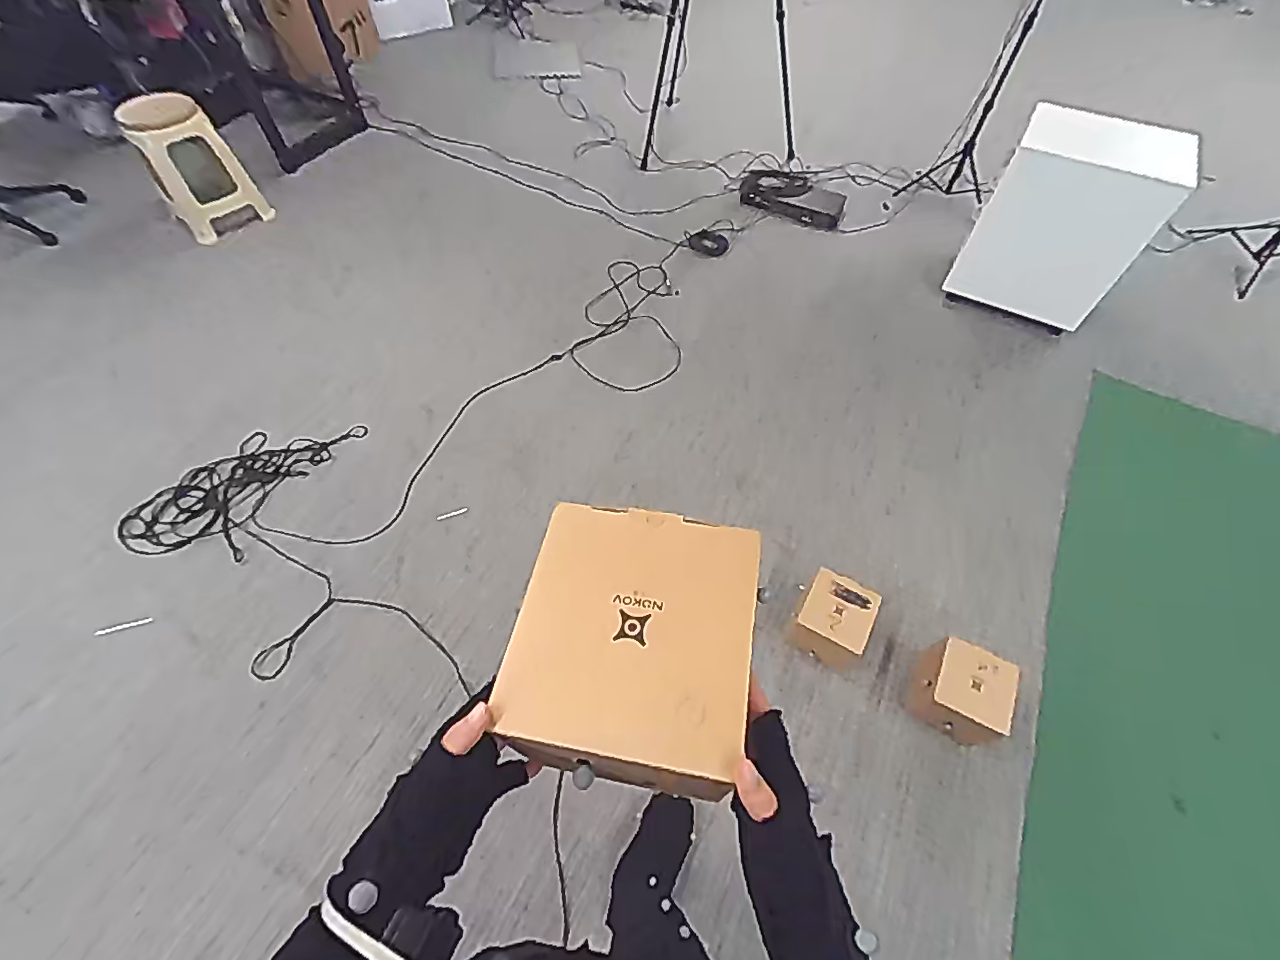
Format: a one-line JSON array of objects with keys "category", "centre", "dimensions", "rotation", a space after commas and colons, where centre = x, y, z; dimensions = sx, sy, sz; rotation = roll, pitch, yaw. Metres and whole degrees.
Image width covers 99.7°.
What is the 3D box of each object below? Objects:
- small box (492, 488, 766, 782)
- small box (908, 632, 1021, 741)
[{"category": "small box", "centre": [0.004, 0.132, 0.442], "dimensions": [0.168, 0.176, 0.179], "rotation": [8, 57, 8]}, {"category": "small box", "centre": [0.776, 0.505, 1.308], "dimensions": [0.168, 0.176, 0.179], "rotation": [26, 60, 15]}]
